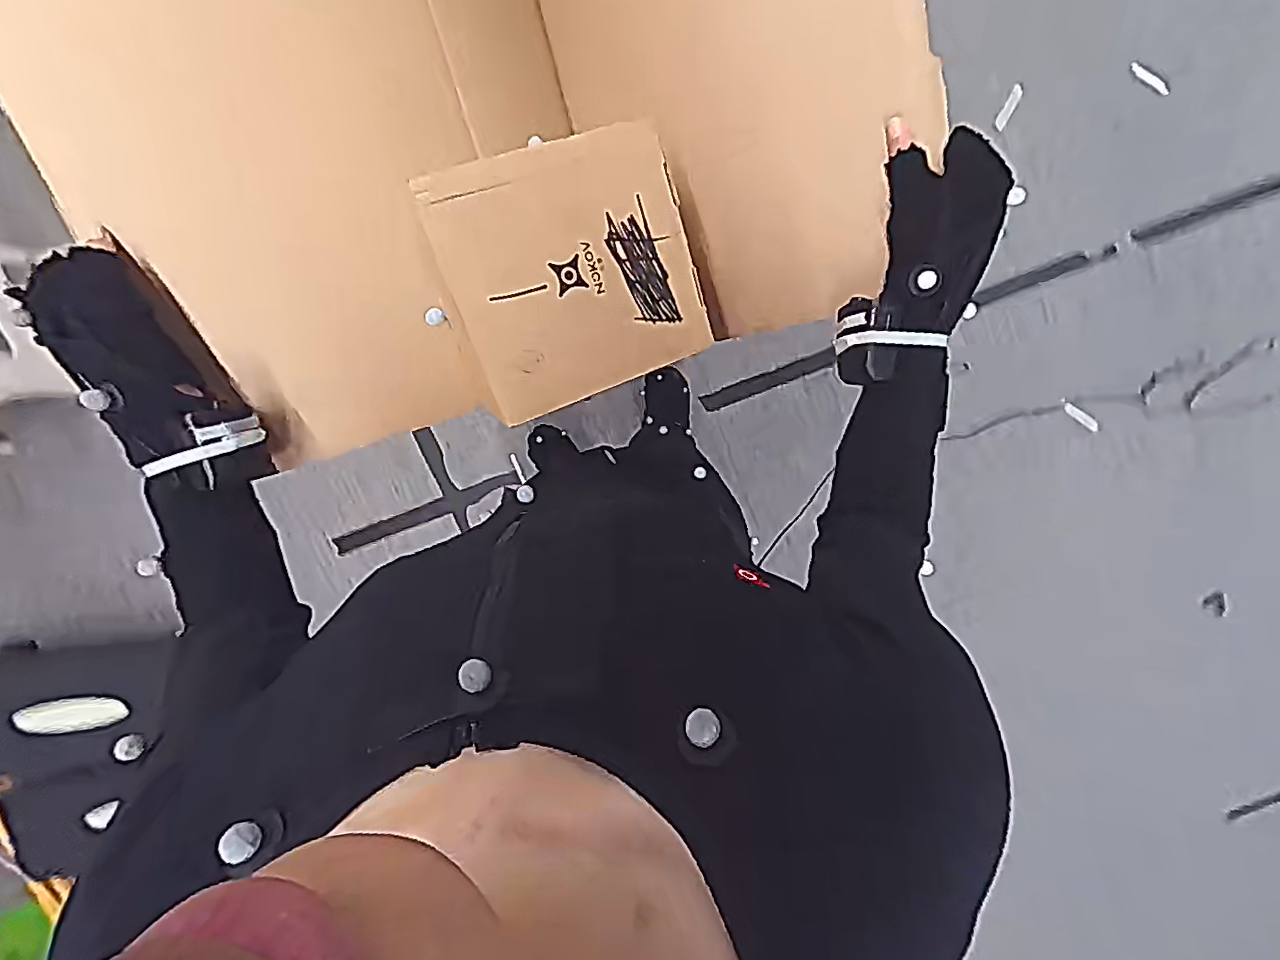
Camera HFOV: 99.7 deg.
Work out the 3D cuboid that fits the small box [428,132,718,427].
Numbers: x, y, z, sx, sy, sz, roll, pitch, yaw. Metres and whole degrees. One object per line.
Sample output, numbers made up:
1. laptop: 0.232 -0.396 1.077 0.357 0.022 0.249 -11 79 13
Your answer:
1. small box: -0.064 -0.160 0.454 0.179 0.176 0.168 -23 111 -15
